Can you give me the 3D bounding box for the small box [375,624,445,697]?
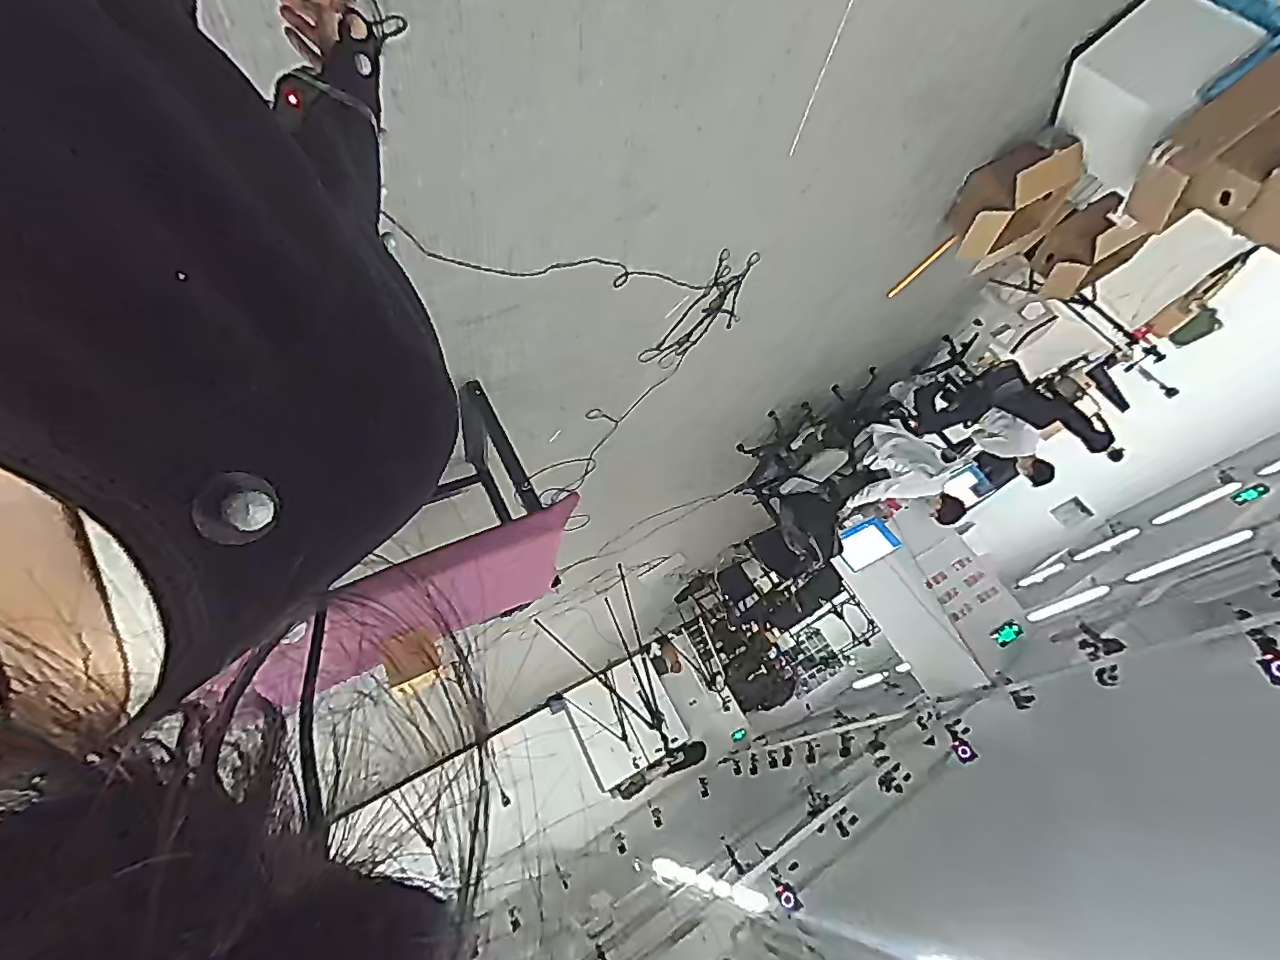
[{"bbox_3d":[-0.821,0.643,1.938,0.179,0.176,0.168,-22,154,-25],"label":"small box"}]
